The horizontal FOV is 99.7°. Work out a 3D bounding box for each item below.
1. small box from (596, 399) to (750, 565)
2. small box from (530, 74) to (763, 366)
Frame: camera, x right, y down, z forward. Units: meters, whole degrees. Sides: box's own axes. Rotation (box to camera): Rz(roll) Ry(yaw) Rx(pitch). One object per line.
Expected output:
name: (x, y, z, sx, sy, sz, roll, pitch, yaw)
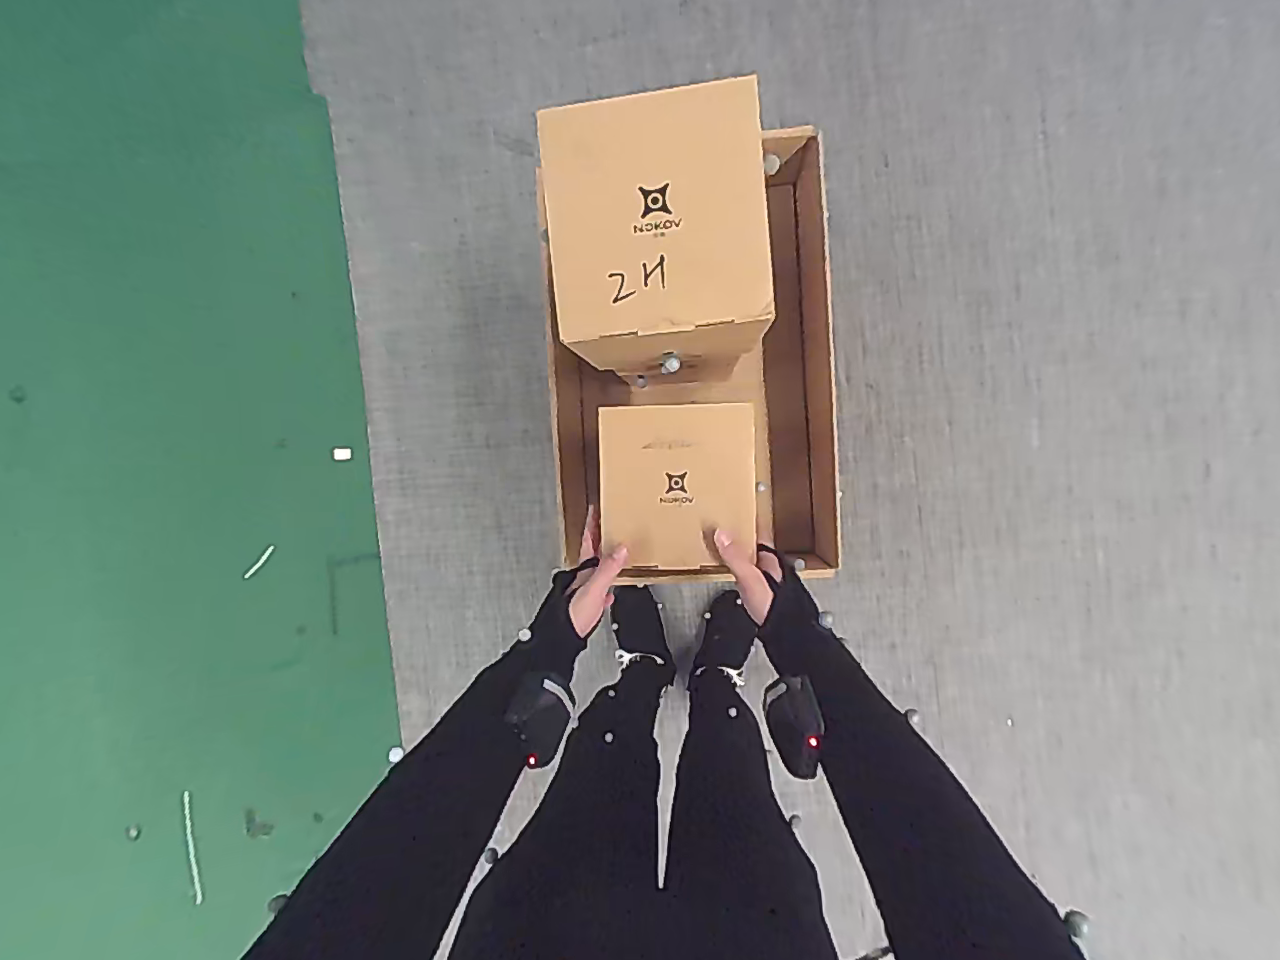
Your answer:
small box: (0.044, 0.001, 0.649, 0.168, 0.176, 0.179, -1, 91, 6)
small box: (0.012, -0.208, 0.484, 0.168, 0.176, 0.179, -6, 94, 7)
